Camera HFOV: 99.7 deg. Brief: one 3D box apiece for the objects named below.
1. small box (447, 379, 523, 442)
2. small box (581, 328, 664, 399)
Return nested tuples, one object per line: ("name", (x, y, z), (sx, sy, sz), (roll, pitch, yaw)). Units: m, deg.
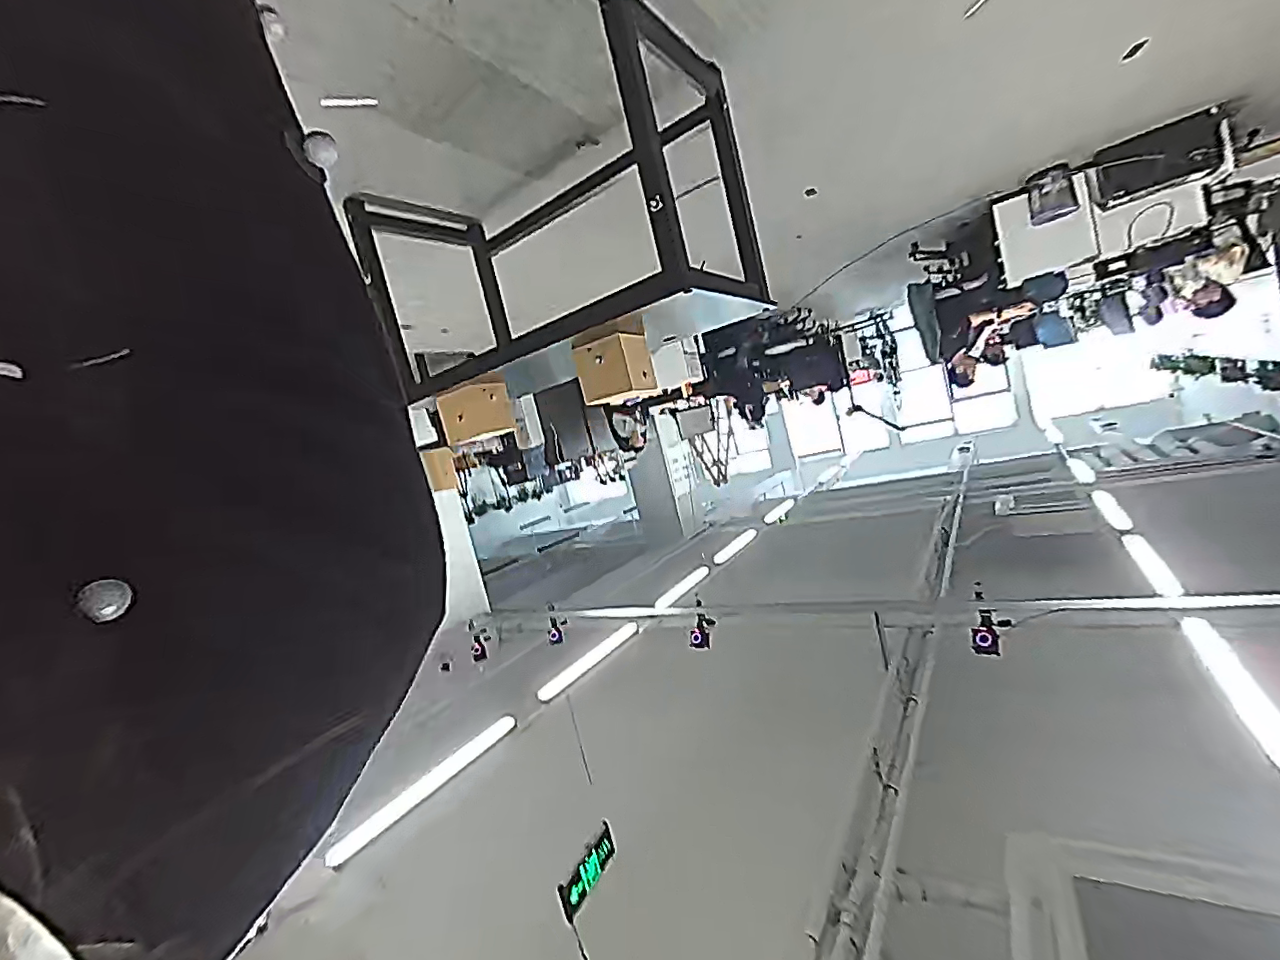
("small box", (-0.532, -0.240, 1.840), (0.179, 0.176, 0.168), (-13, -174, 33))
("small box", (-0.051, -0.348, 1.611), (0.168, 0.176, 0.179), (-13, -175, 29))
